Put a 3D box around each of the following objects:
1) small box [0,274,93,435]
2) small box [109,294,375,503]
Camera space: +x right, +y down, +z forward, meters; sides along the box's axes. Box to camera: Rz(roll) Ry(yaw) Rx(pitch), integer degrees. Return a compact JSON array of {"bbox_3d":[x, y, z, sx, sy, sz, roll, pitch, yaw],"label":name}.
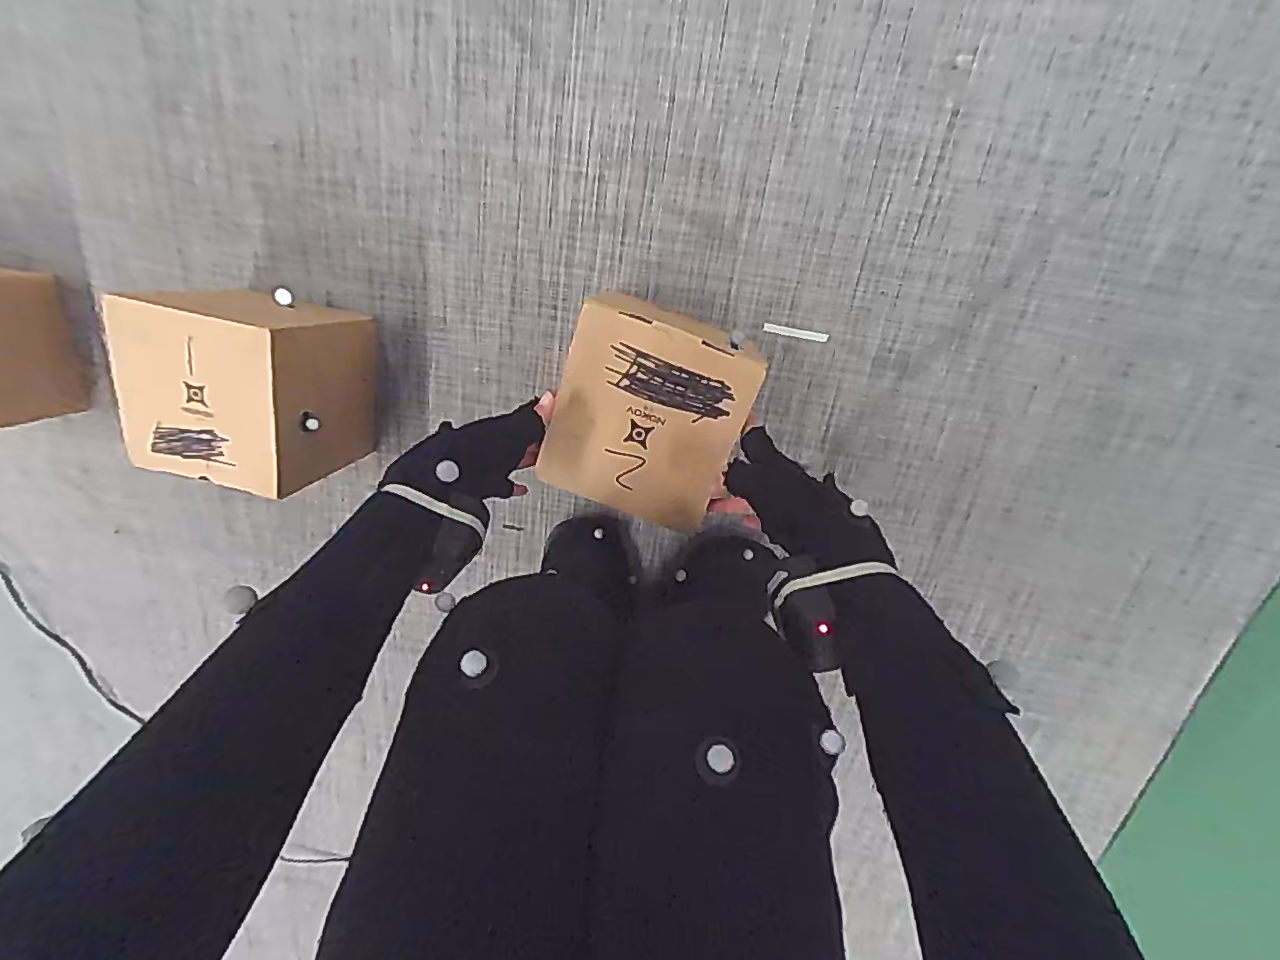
[{"bbox_3d":[-0.817,-0.154,0.634,0.168,0.176,0.179,8,112,4],"label":"small box"},{"bbox_3d":[-0.419,-0.100,0.603,0.168,0.176,0.179,13,111,3],"label":"small box"}]
